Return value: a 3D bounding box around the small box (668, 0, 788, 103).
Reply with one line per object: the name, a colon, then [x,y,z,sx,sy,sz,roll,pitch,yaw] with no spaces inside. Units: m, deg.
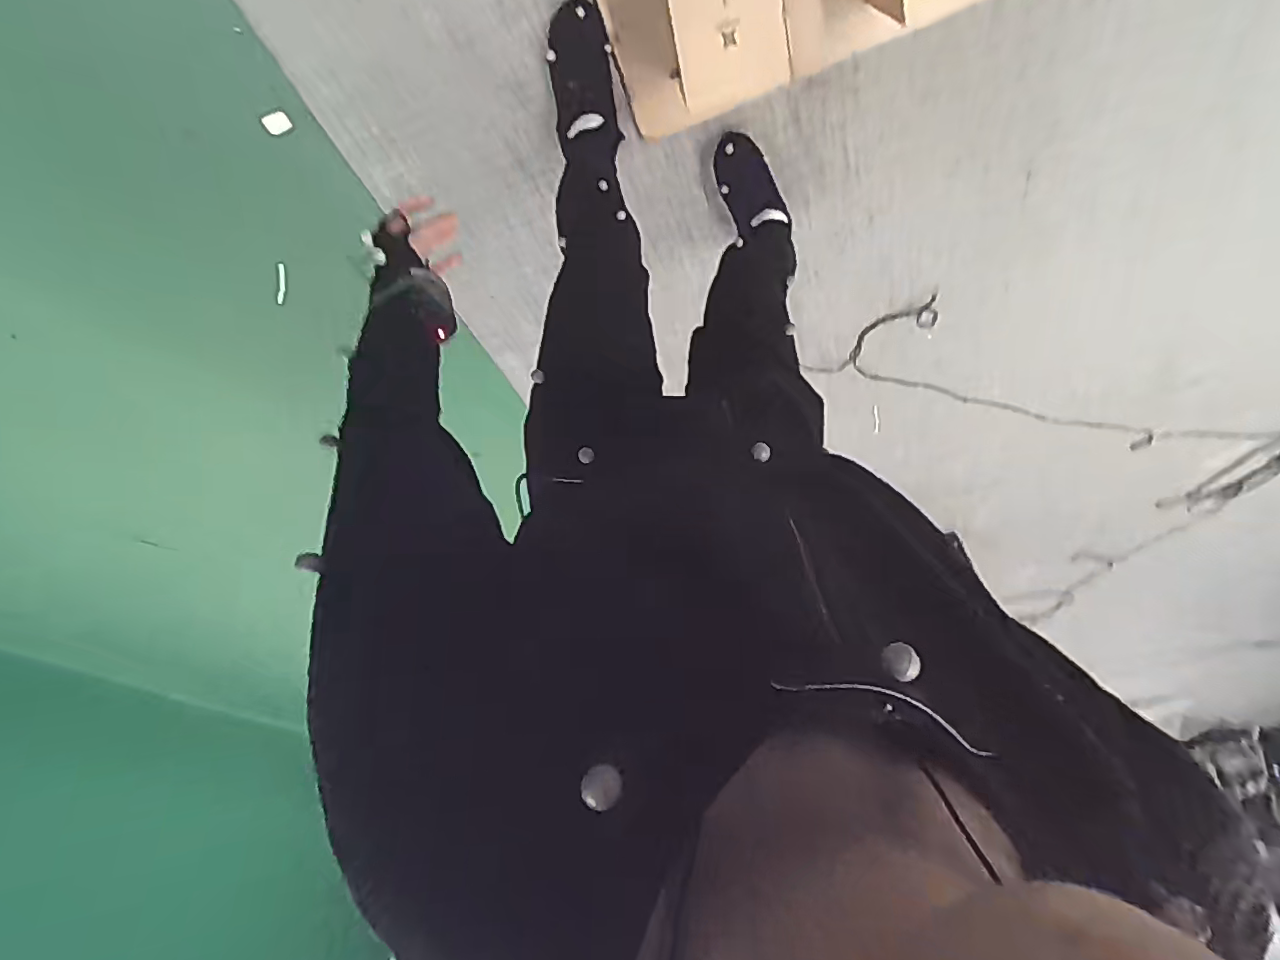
small box: [0.136,-0.751,0.866,0.168,0.176,0.179,-12,140,9]
